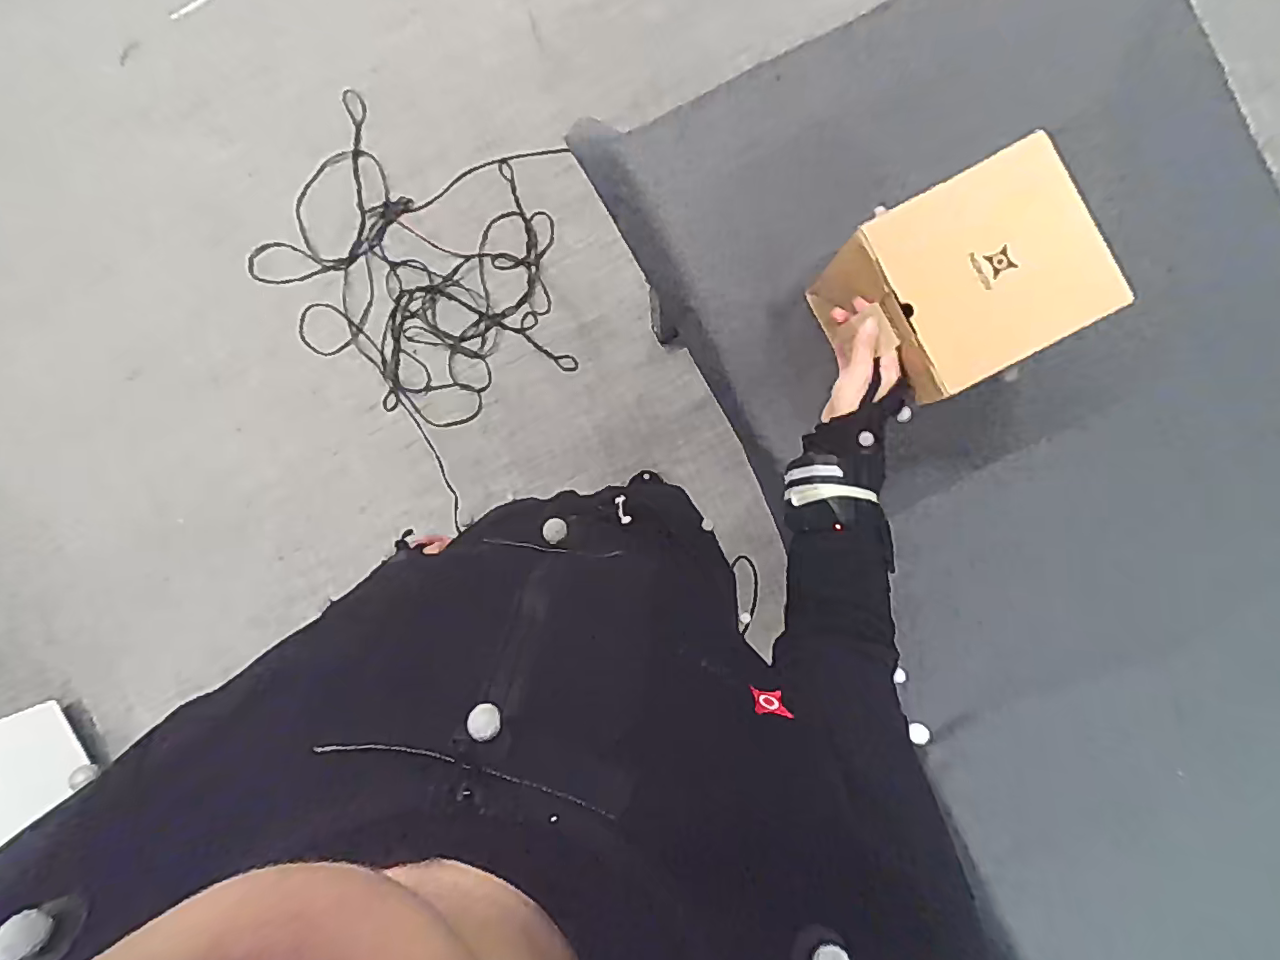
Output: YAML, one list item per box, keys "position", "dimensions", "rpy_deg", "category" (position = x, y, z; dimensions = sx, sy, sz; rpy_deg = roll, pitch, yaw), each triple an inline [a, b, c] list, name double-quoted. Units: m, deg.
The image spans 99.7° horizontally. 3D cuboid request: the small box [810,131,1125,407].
- position: [0.300, -0.187, 0.537]
  dimensions: [0.179, 0.176, 0.168]
  rpy_deg: [-28, 91, 3]
  category: "small box"
